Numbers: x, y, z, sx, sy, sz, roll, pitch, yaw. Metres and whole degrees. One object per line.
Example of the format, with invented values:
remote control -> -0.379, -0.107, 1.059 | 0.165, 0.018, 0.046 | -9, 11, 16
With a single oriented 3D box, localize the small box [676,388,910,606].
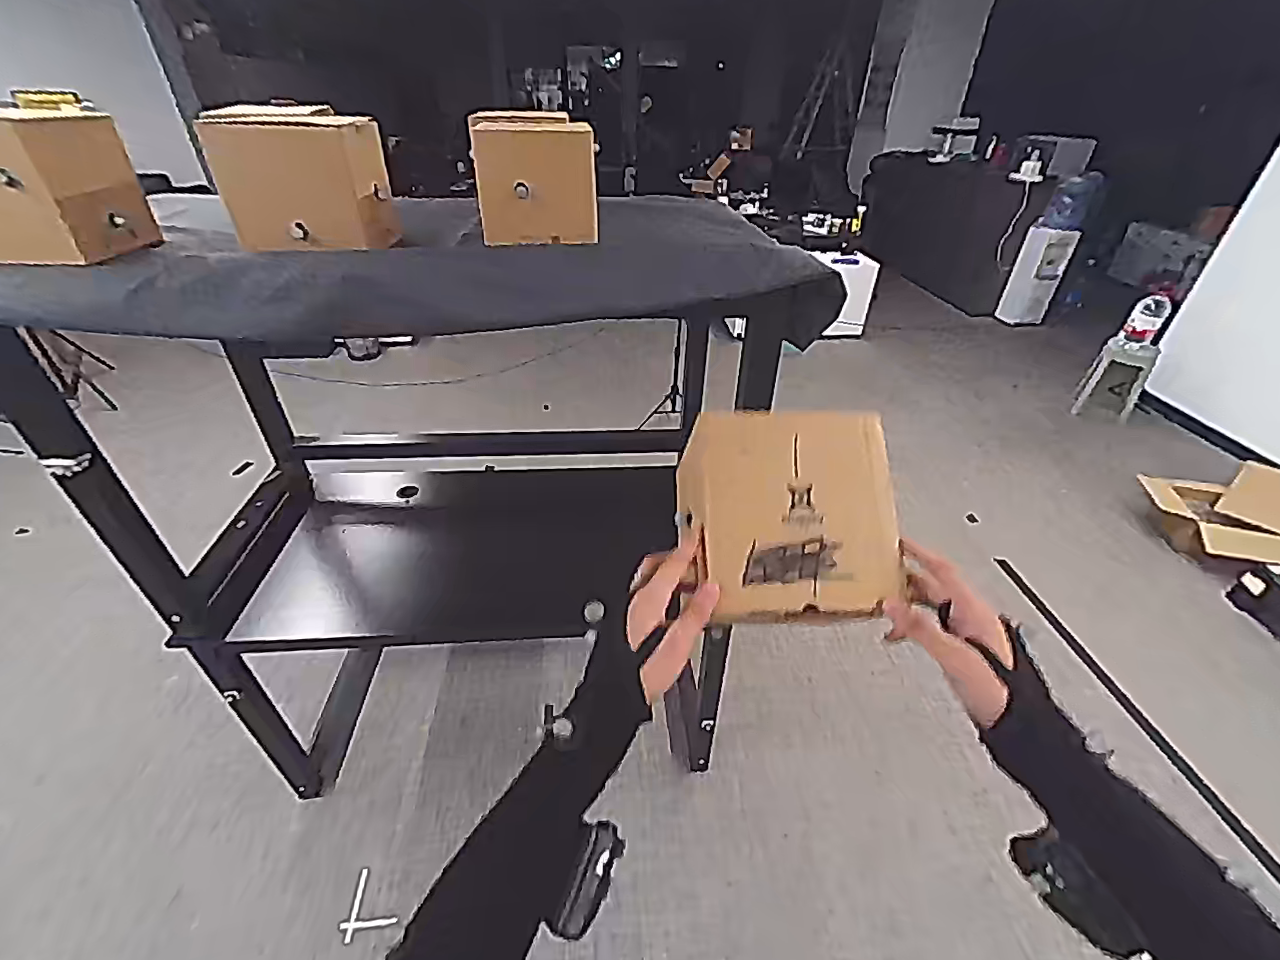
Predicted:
small box -> 0.126, 0.028, 0.517 | 0.168, 0.176, 0.179 | 0, 72, -3

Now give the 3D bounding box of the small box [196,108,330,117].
small box -> -0.662, -0.587, 1.005 | 0.168, 0.176, 0.179 | -7, 37, -9

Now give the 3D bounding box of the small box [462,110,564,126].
small box -> -0.233, -0.619, 1.059 | 0.179, 0.176, 0.168 | -2, 37, -5

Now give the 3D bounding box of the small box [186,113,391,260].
small box -> -0.481, -0.422, 0.780 | 0.179, 0.176, 0.168 | -2, 35, -6

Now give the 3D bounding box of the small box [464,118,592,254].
small box -> -0.163, -0.453, 0.833 | 0.168, 0.176, 0.179 | -4, 35, -6
